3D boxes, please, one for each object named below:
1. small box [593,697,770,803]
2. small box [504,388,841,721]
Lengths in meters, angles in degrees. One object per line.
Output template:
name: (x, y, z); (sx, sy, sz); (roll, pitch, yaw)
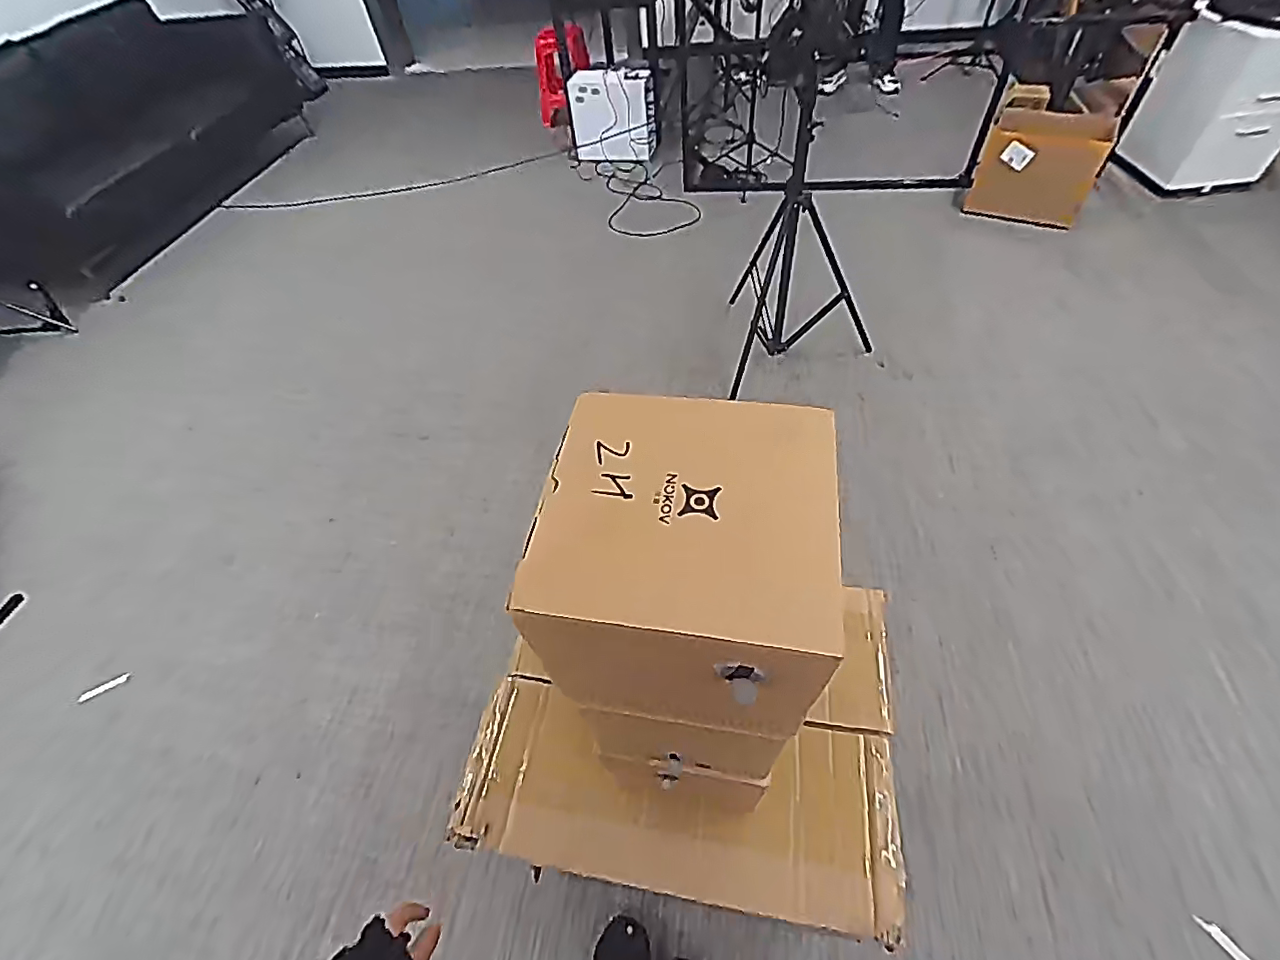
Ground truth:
small box: (0.058, 0.265, 0.638); (0.179, 0.176, 0.168); (6, 53, 10)
small box: (0.033, 0.057, 0.383); (0.179, 0.176, 0.168); (5, 53, 10)
